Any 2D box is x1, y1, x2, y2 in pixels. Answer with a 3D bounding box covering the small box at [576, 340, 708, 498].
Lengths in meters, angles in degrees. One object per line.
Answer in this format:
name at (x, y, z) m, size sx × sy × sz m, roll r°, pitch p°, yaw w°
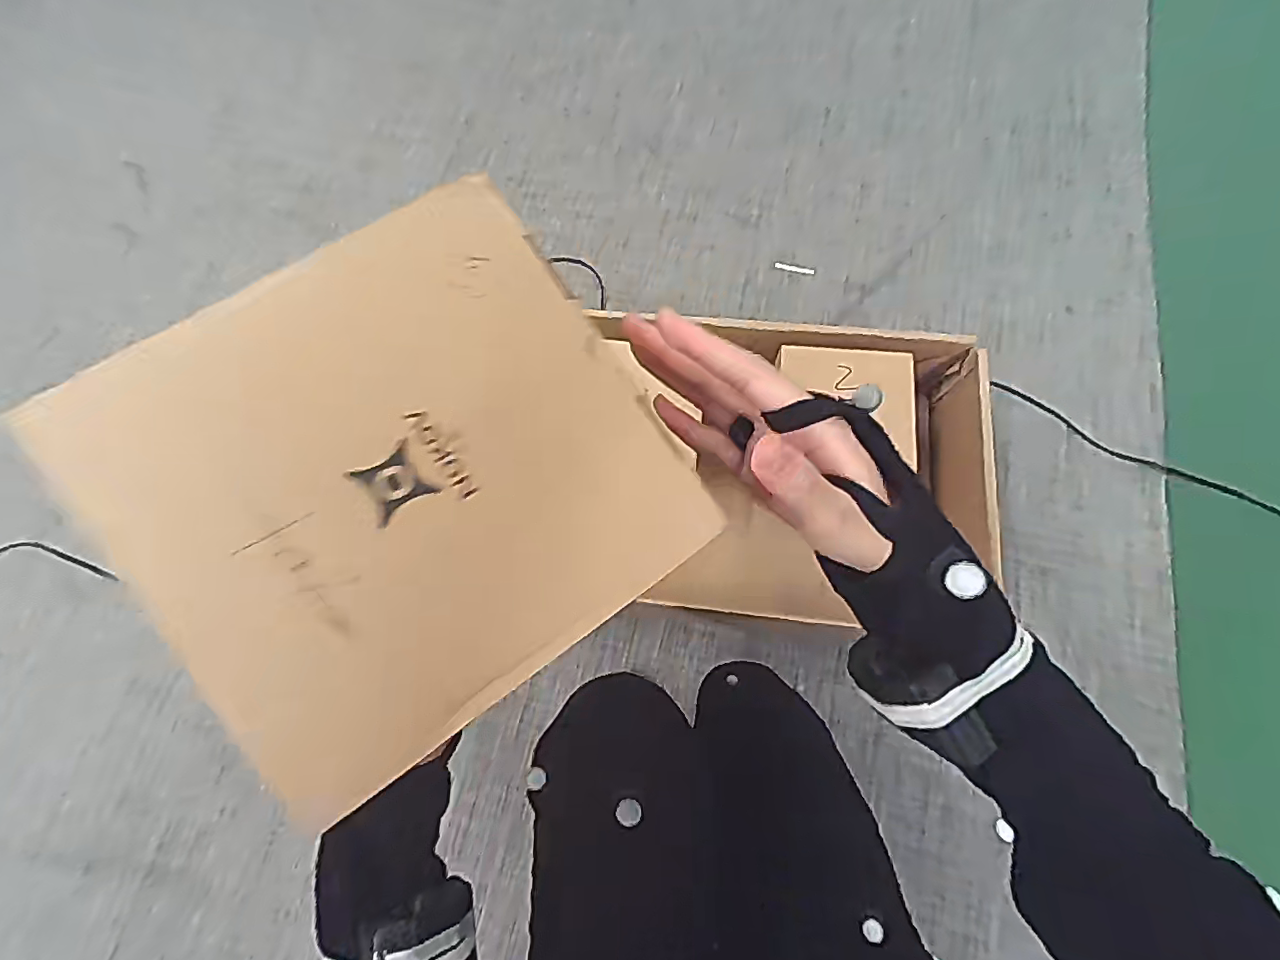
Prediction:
small box at (-0.003, -0.077, 0.766) m, size 0.179 × 0.176 × 0.168 m, roll 6°, pitch 75°, yaw 4°
